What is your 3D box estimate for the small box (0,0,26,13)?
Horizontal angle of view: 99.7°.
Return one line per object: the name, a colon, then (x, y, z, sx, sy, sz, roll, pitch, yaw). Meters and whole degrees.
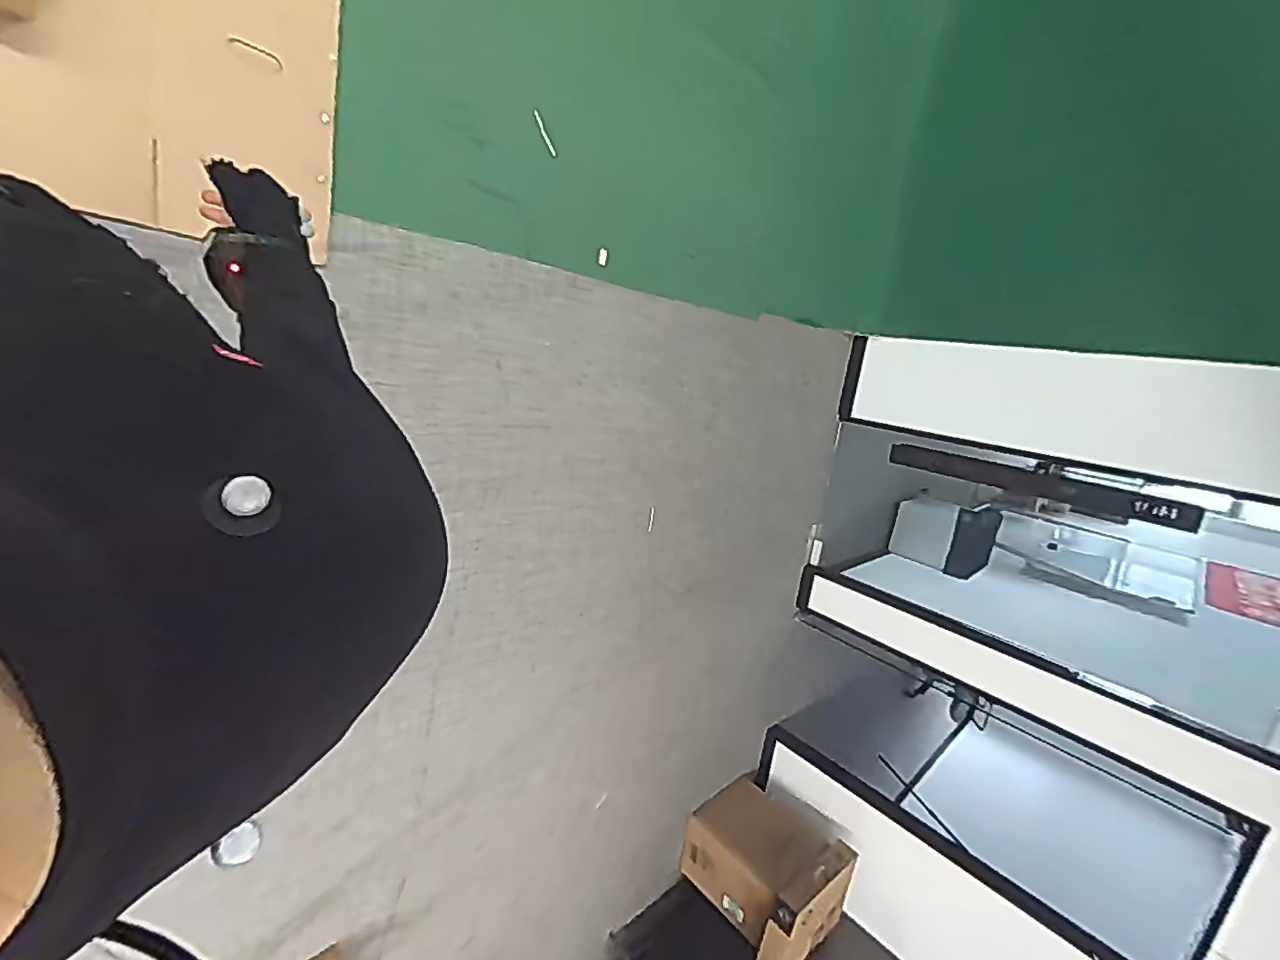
small box: (-0.984, -0.808, 0.748, 0.168, 0.176, 0.179, 1, 104, -44)
